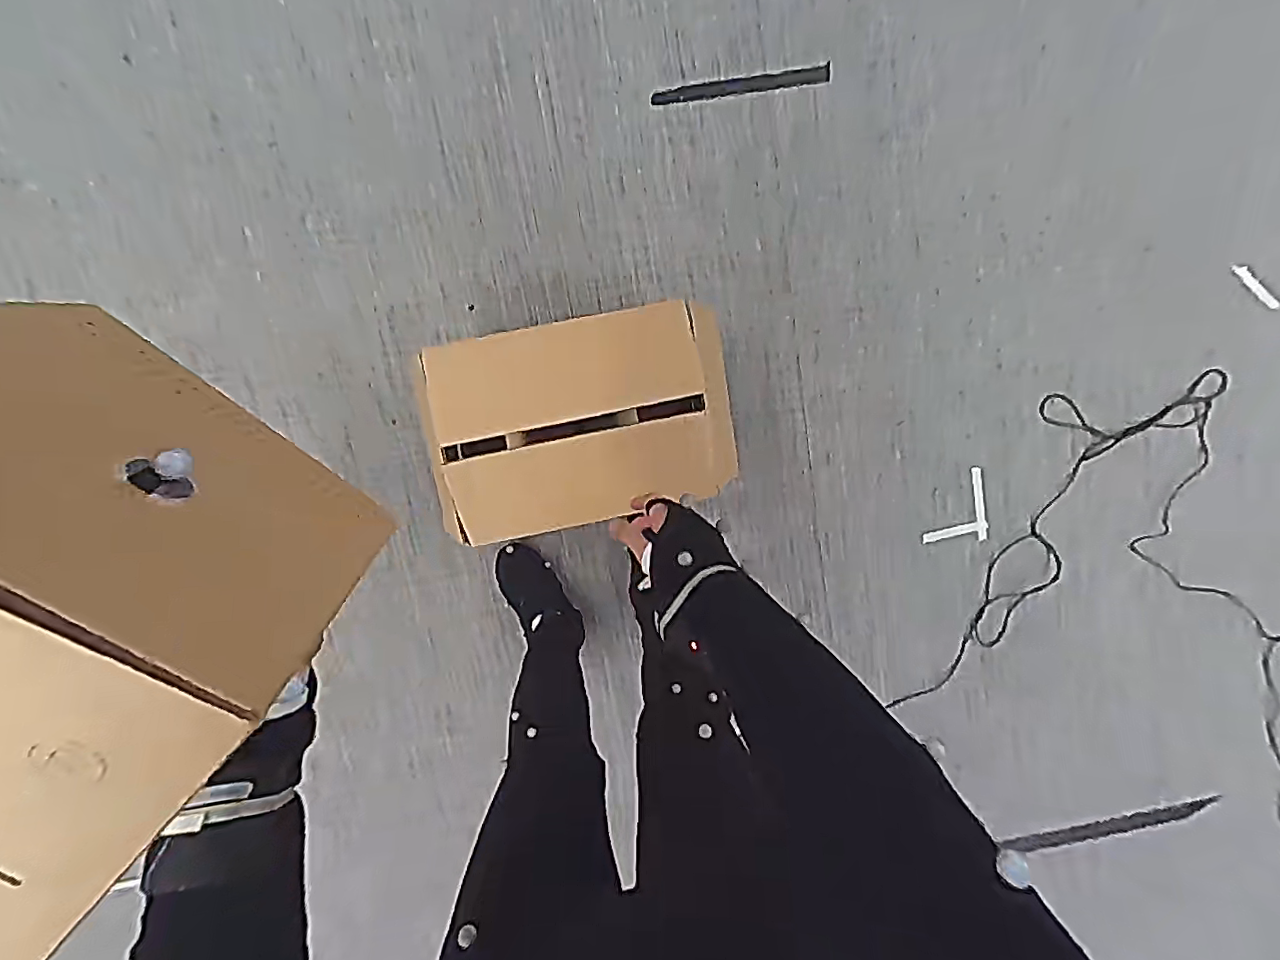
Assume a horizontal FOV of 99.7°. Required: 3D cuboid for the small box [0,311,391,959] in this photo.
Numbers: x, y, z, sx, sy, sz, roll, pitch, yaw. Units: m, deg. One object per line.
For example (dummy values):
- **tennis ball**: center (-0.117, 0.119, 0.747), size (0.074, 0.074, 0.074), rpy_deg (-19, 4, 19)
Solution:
- **small box**: center (-0.236, 0.050, 0.212), size (0.179, 0.176, 0.168), rpy_deg (41, 96, -20)
